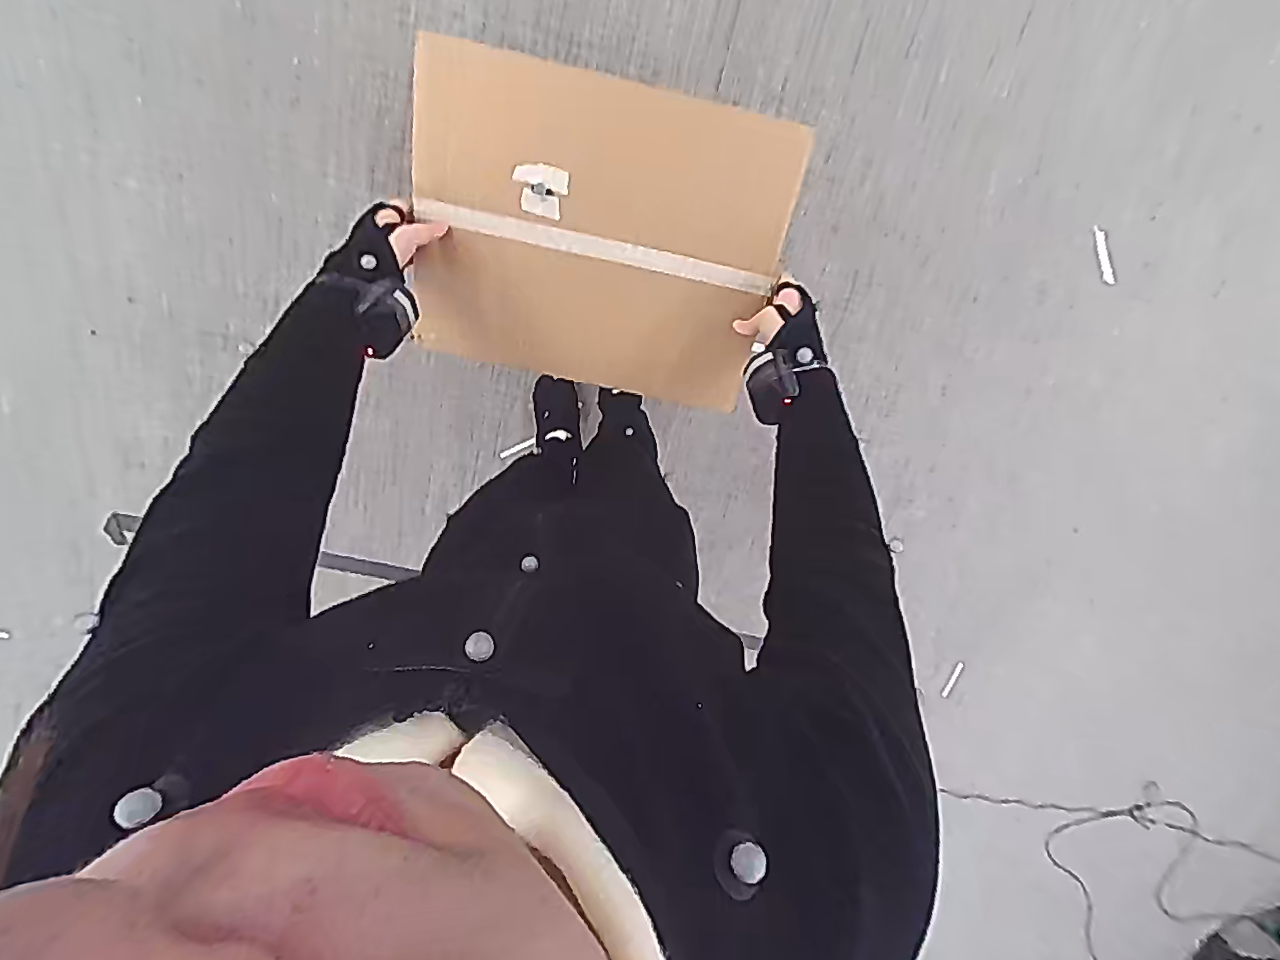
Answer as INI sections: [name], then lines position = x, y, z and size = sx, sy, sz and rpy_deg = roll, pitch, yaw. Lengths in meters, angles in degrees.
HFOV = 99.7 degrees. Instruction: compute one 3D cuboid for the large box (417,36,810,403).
[large box]
position = -0.041, -0.330, 0.732
size = 0.408, 0.320, 0.320
rpy_deg = 11, 116, -3
